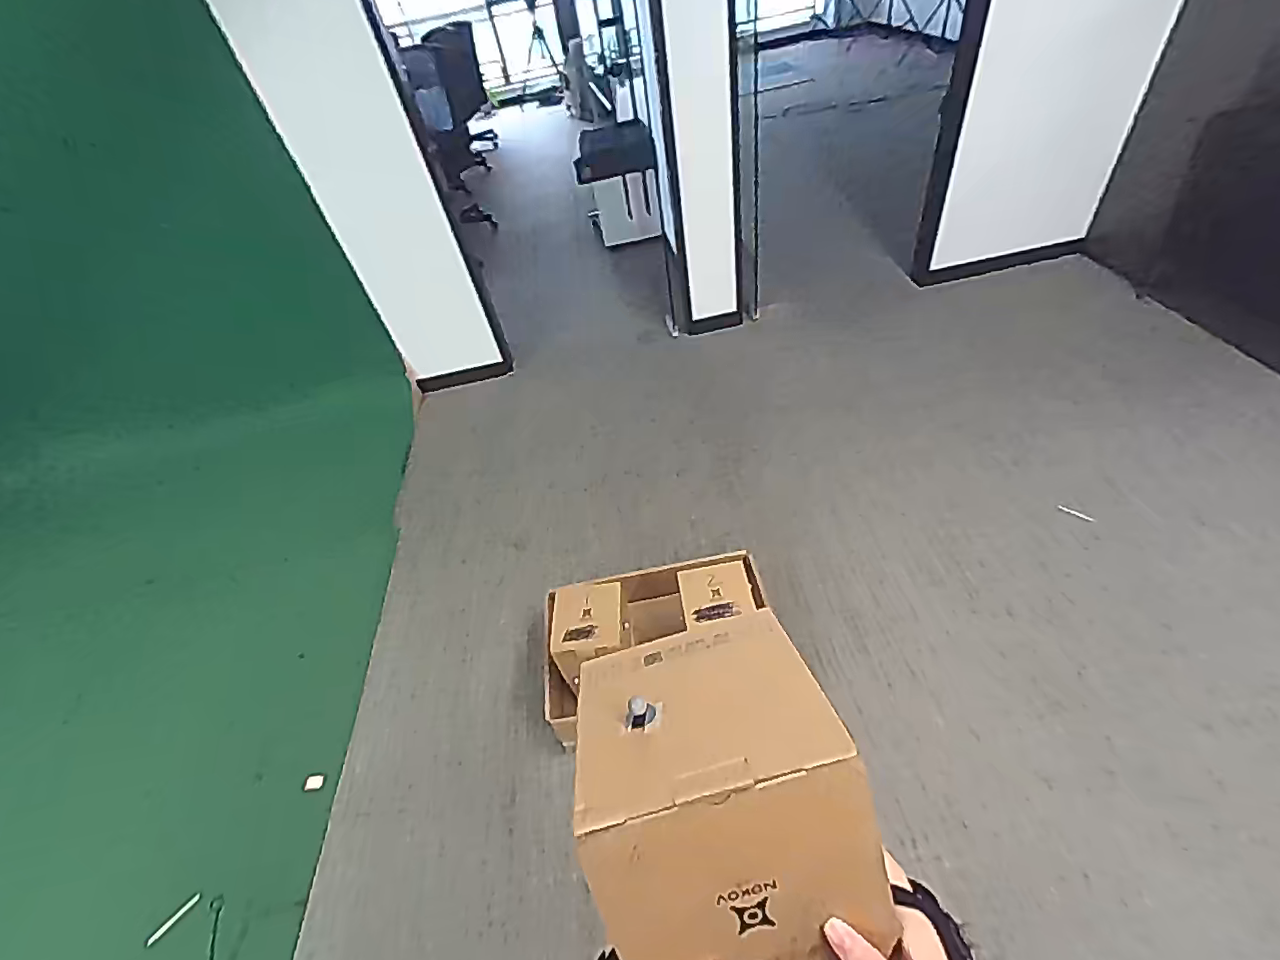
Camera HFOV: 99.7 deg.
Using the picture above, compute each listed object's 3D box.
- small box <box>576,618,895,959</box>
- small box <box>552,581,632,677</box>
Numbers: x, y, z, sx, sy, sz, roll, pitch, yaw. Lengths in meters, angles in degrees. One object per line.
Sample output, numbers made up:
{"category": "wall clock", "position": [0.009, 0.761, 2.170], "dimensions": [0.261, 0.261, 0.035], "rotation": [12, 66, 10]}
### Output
{"category": "small box", "position": [0.056, 0.222, 0.397], "dimensions": [0.168, 0.179, 0.176], "rotation": [-16, 16, 1]}
{"category": "small box", "position": [-0.112, 0.377, 1.345], "dimensions": [0.168, 0.176, 0.179], "rotation": [-7, 45, 5]}
